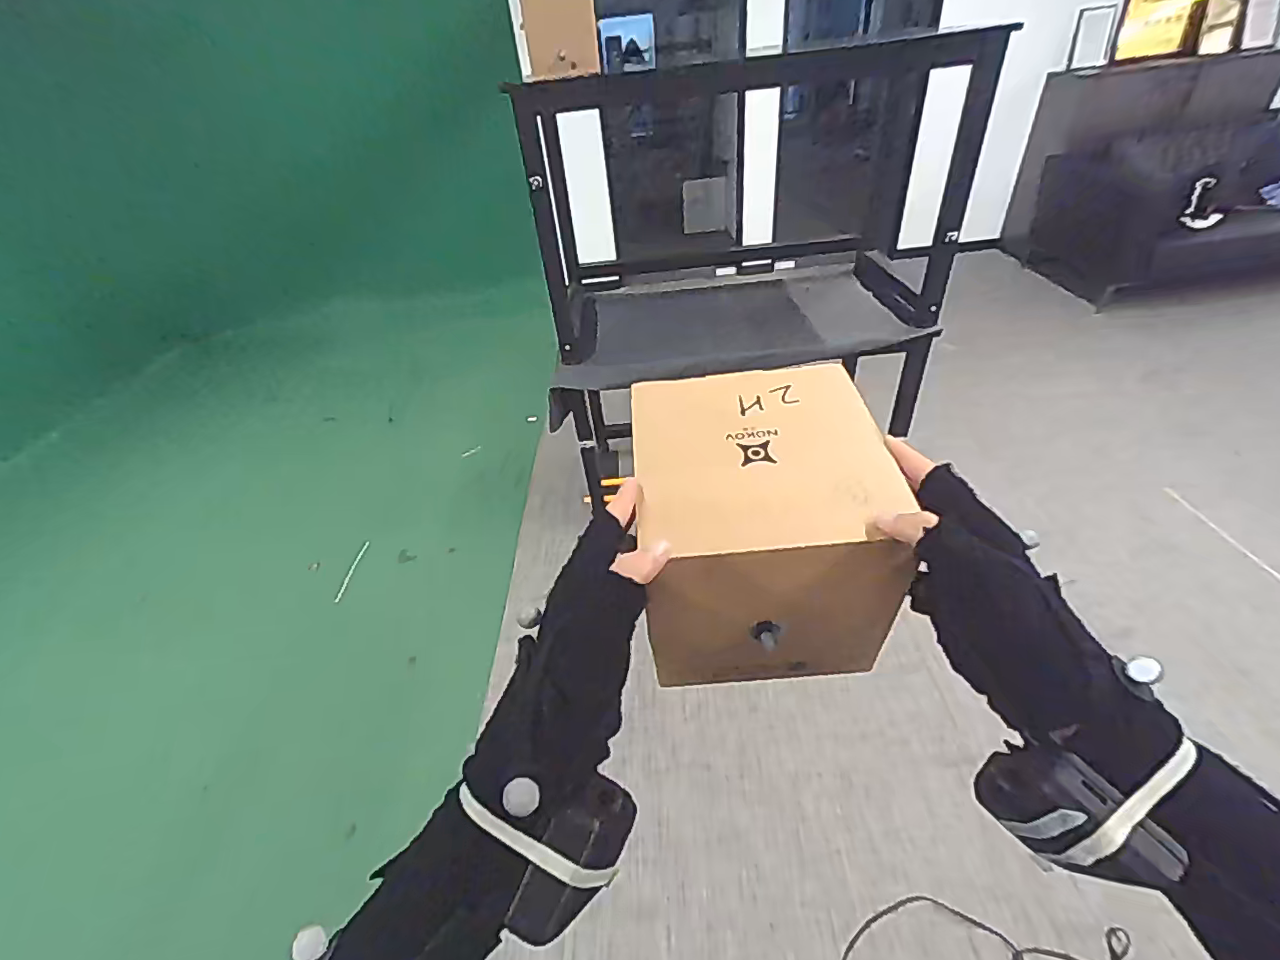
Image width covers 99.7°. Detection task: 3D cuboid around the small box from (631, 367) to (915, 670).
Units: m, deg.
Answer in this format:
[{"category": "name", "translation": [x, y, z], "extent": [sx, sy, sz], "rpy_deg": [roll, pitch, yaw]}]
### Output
[{"category": "small box", "translation": [0.084, 0.035, 0.427], "extent": [0.168, 0.176, 0.179], "rpy_deg": [-5, 44, 2]}]
